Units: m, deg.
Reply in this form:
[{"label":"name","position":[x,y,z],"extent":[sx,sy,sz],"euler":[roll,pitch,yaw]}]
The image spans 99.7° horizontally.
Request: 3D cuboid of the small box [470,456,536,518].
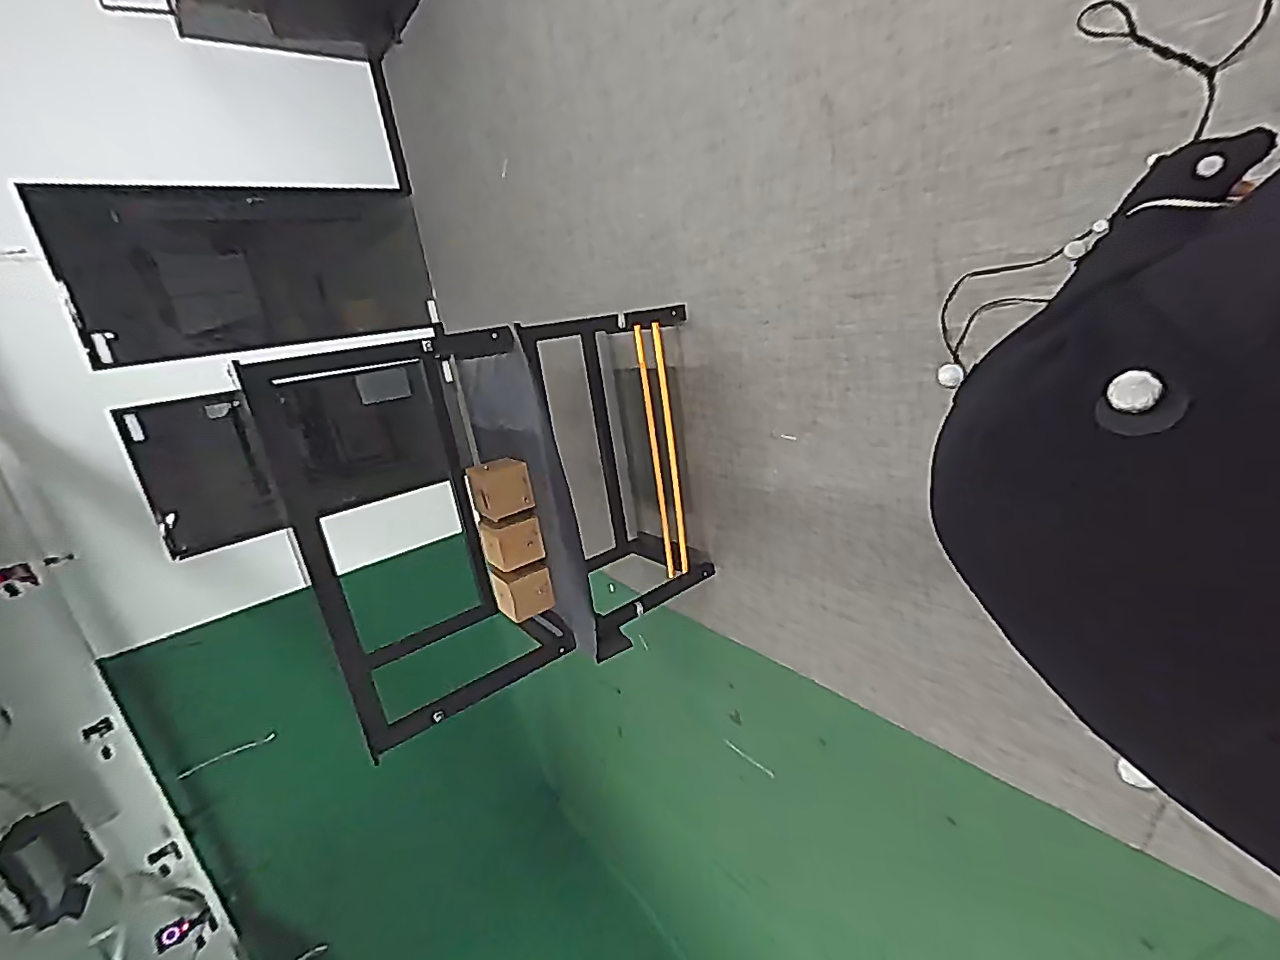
[{"label":"small box","position":[-0.492,0.019,1.965],"extent":[0.179,0.176,0.168],"euler":[15,119,52]}]
